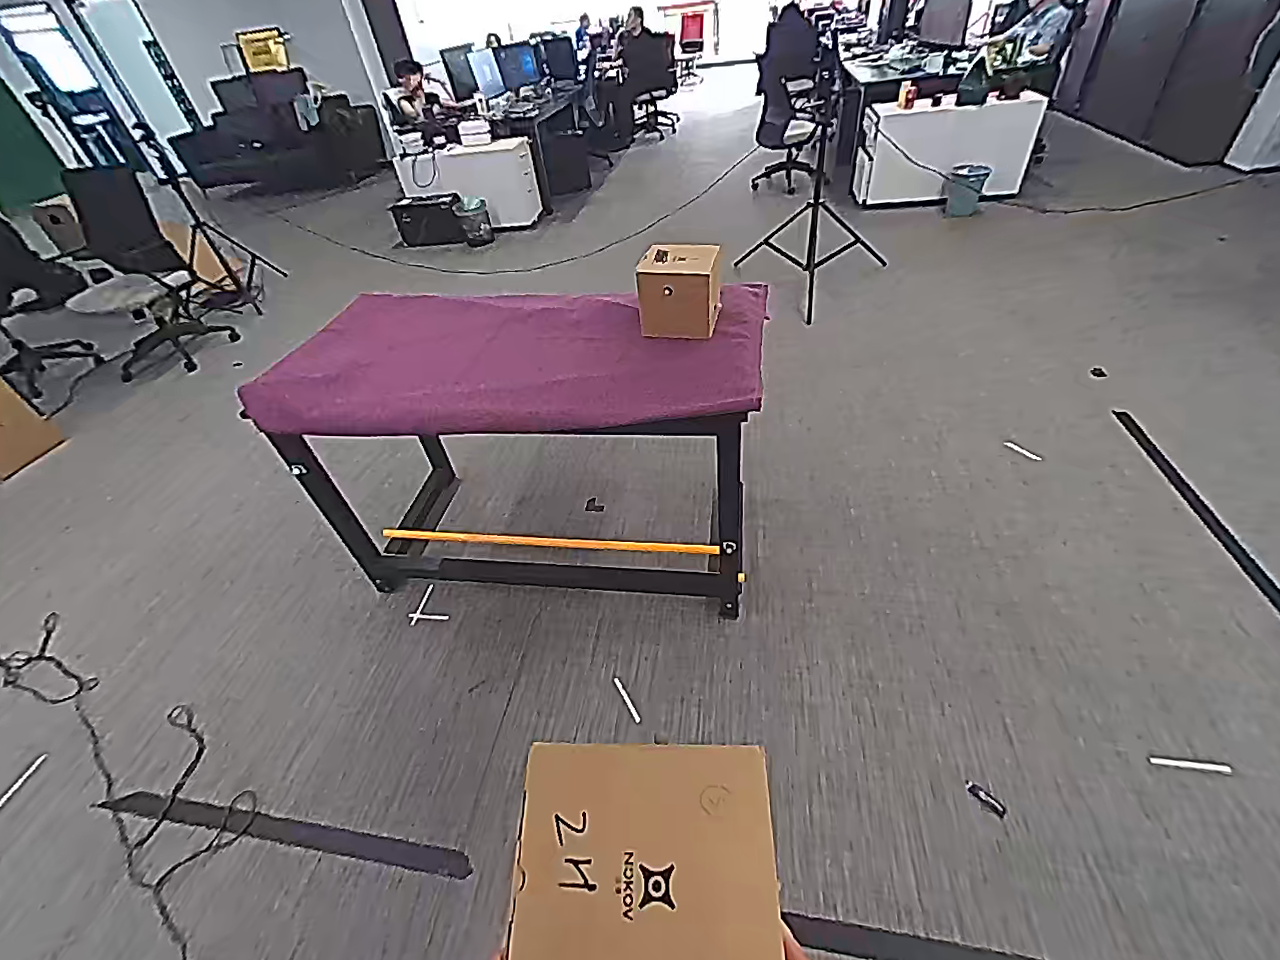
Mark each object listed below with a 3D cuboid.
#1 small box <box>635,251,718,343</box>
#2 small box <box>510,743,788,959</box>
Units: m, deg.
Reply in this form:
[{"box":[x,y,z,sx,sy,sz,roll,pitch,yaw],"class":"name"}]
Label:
[{"box":[0.097,-0.457,1.355,0.179,0.176,0.168,7,45,14],"class":"small box"},{"box":[0.009,0.308,0.424,0.179,0.176,0.168,-1,57,4],"class":"small box"}]
